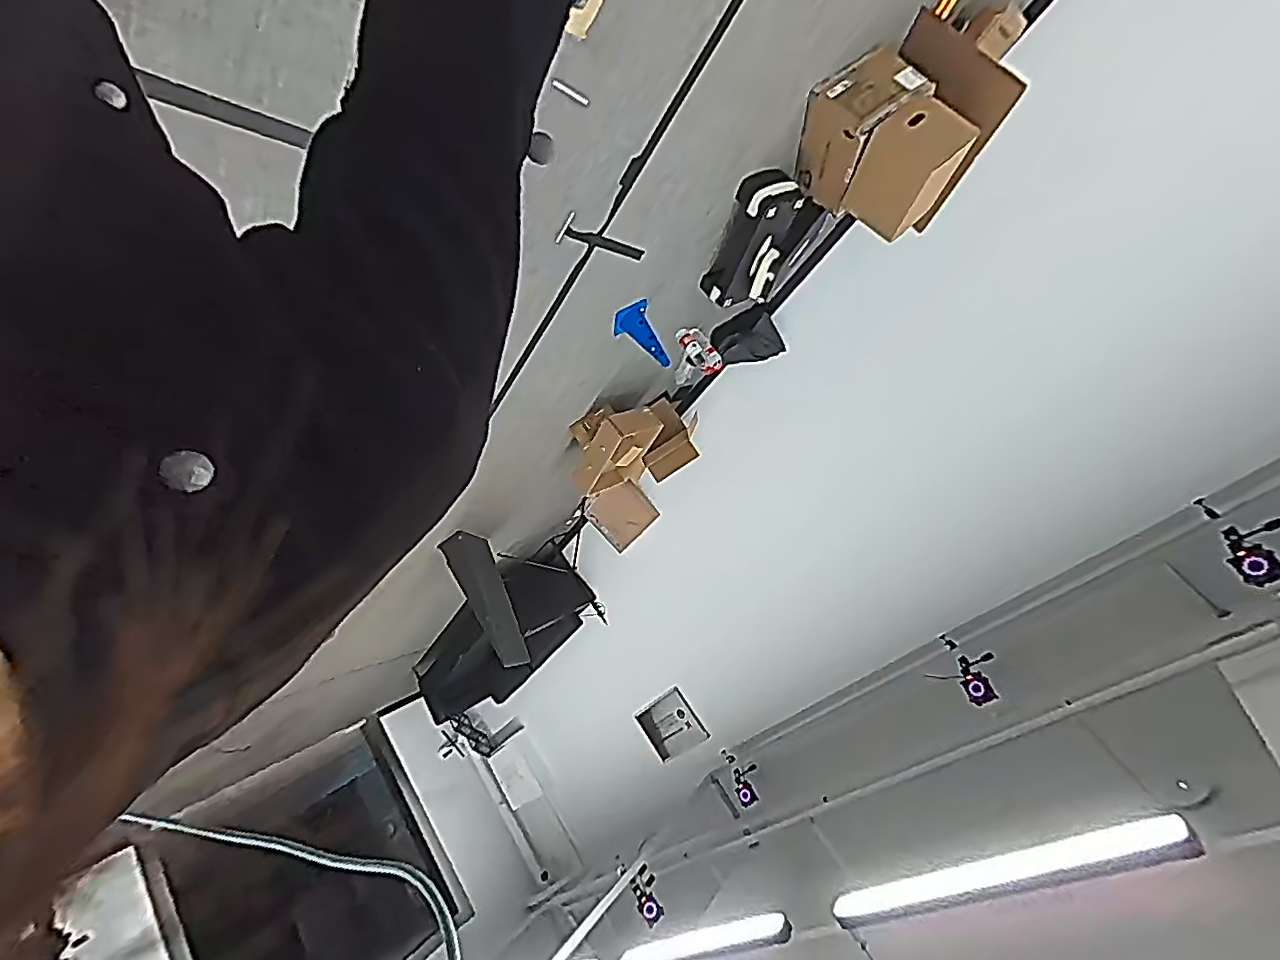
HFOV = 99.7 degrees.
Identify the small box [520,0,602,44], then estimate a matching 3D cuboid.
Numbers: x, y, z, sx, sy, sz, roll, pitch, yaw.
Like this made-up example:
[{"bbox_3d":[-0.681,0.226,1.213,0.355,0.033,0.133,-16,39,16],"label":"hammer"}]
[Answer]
[{"bbox_3d":[-0.119,-0.629,0.565,0.168,0.176,0.179,-12,150,-52],"label":"small box"}]
